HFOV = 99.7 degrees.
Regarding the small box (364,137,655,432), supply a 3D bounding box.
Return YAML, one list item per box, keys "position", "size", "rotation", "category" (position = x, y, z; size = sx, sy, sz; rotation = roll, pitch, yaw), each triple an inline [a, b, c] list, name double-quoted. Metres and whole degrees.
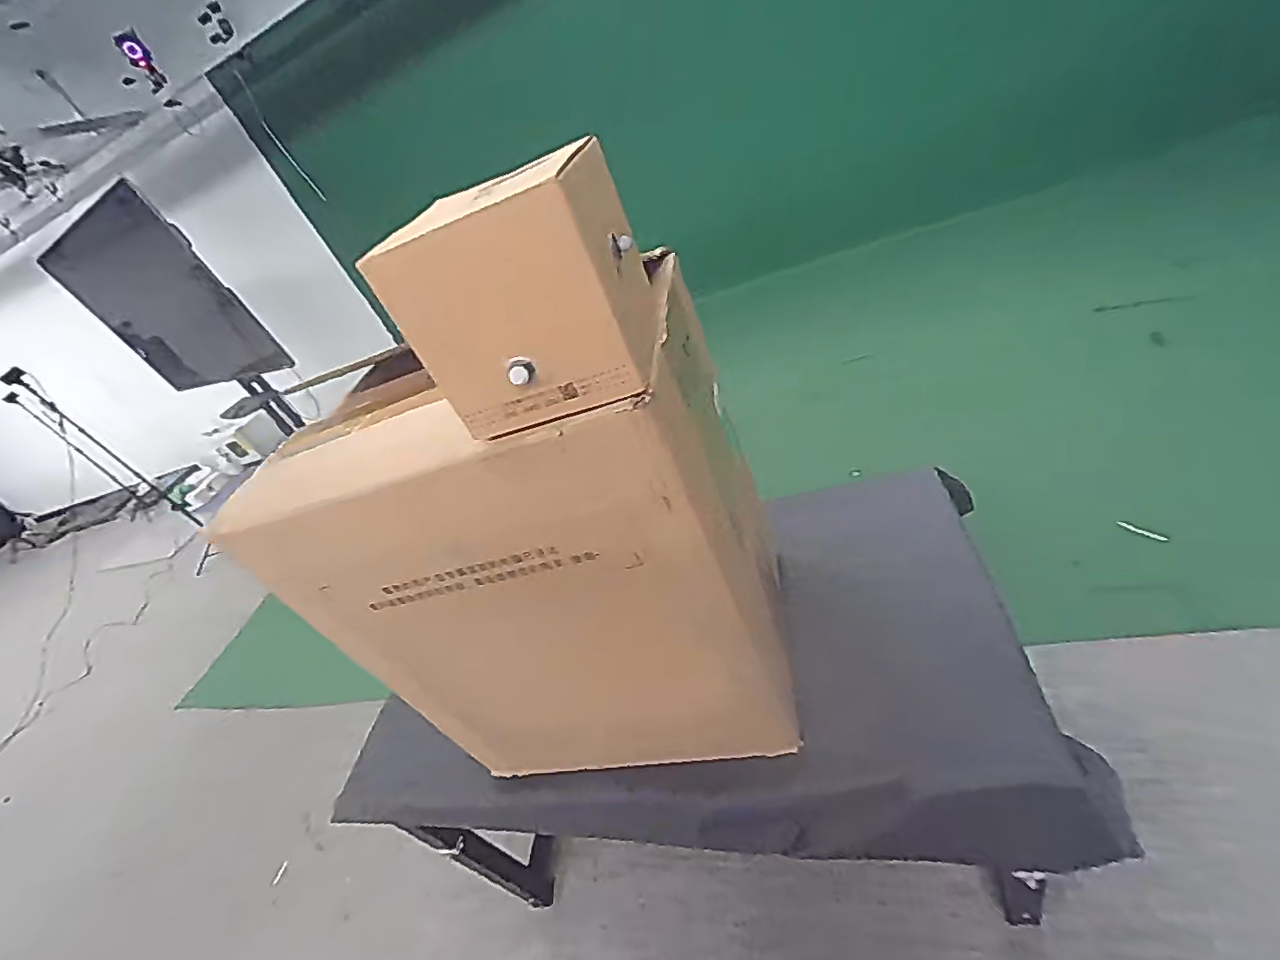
- position: [-0.090, -0.168, 0.478]
  size: [0.168, 0.176, 0.179]
  rotation: [-13, 39, 17]
  category: "small box"
